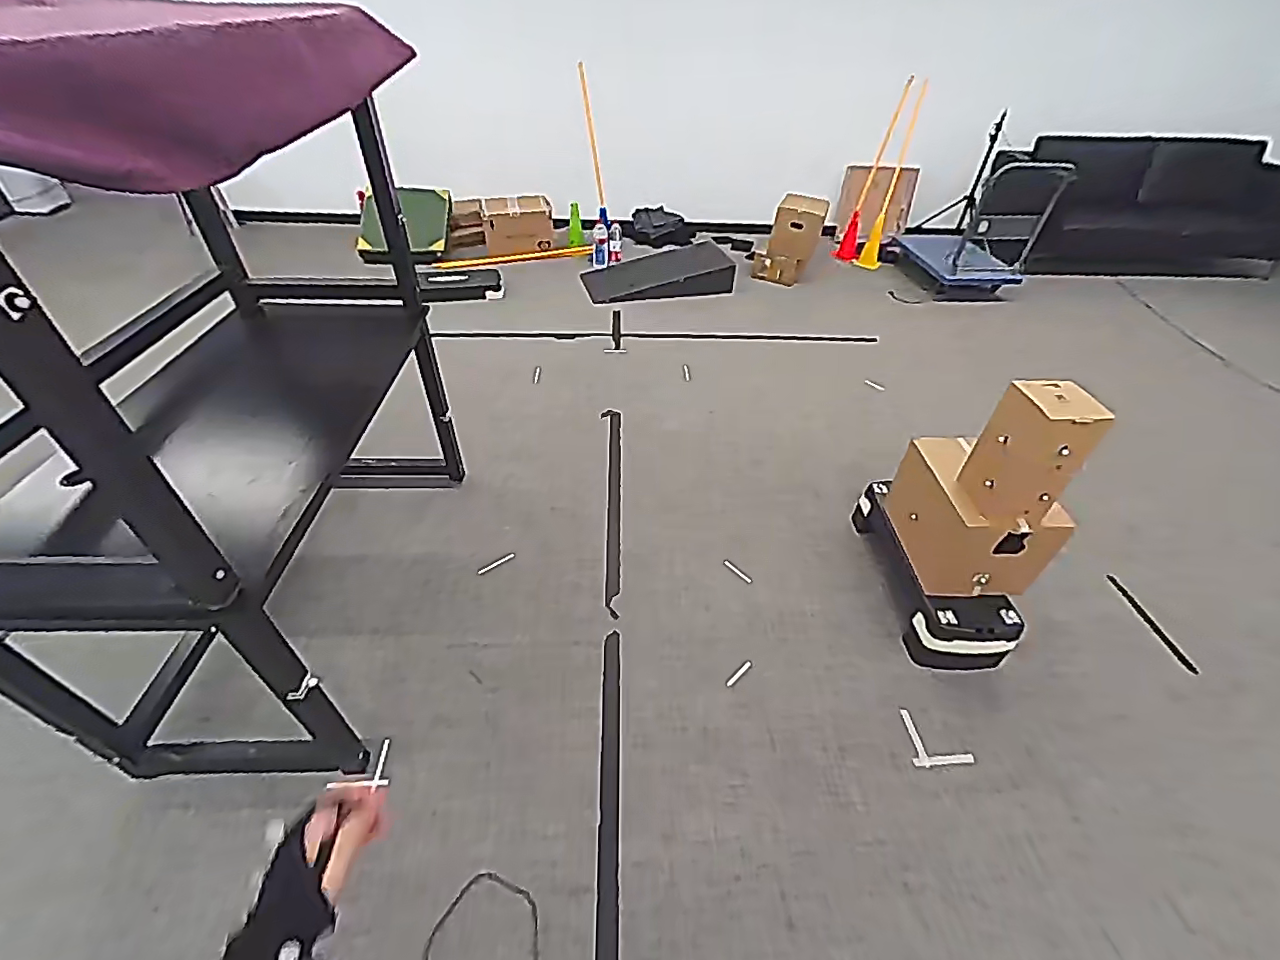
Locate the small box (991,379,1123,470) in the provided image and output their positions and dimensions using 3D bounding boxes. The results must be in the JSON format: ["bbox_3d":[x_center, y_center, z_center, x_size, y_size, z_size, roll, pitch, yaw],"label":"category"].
[{"bbox_3d":[1.041,-0.140,1.370,0.168,0.176,0.179,1,42,-3],"label":"small box"}]

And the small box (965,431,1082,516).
[{"bbox_3d":[1.035,-0.015,1.476,0.168,0.176,0.179,1,41,-1],"label":"small box"}]

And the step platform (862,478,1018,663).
[{"bbox_3d":[1.004,0.274,1.876,0.286,0.204,0.684,4,41,2],"label":"step platform"}]

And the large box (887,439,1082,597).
[{"bbox_3d":[1.038,0.116,1.697,0.320,0.320,0.408,1,41,-2],"label":"large box"}]
